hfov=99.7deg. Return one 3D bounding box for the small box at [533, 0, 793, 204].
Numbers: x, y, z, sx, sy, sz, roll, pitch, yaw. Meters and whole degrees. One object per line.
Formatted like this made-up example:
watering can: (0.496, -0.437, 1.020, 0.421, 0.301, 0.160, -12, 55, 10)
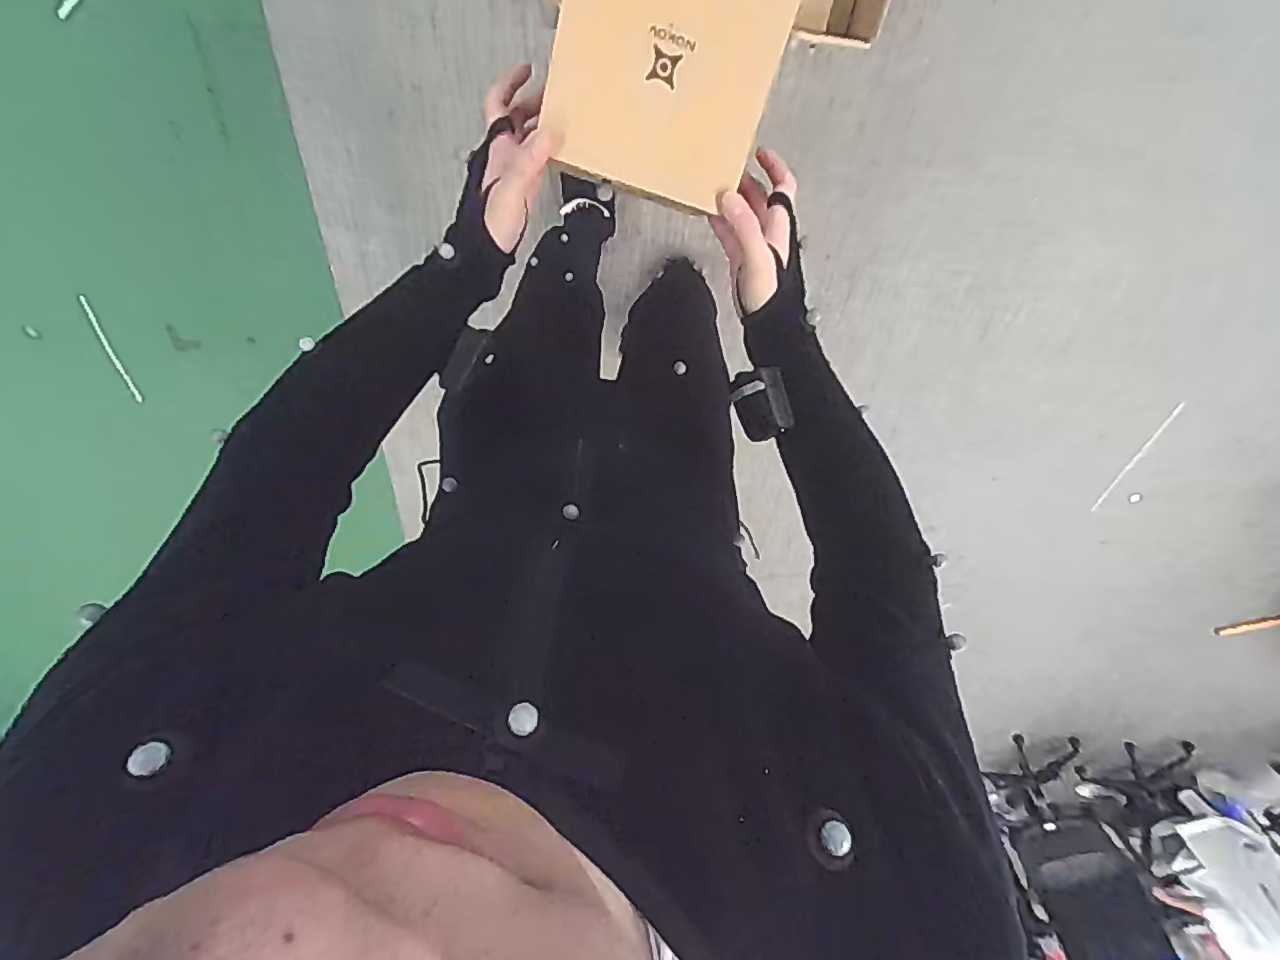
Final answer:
small box: (0.015, -0.356, 0.469, 0.168, 0.176, 0.179, 14, 113, -9)
